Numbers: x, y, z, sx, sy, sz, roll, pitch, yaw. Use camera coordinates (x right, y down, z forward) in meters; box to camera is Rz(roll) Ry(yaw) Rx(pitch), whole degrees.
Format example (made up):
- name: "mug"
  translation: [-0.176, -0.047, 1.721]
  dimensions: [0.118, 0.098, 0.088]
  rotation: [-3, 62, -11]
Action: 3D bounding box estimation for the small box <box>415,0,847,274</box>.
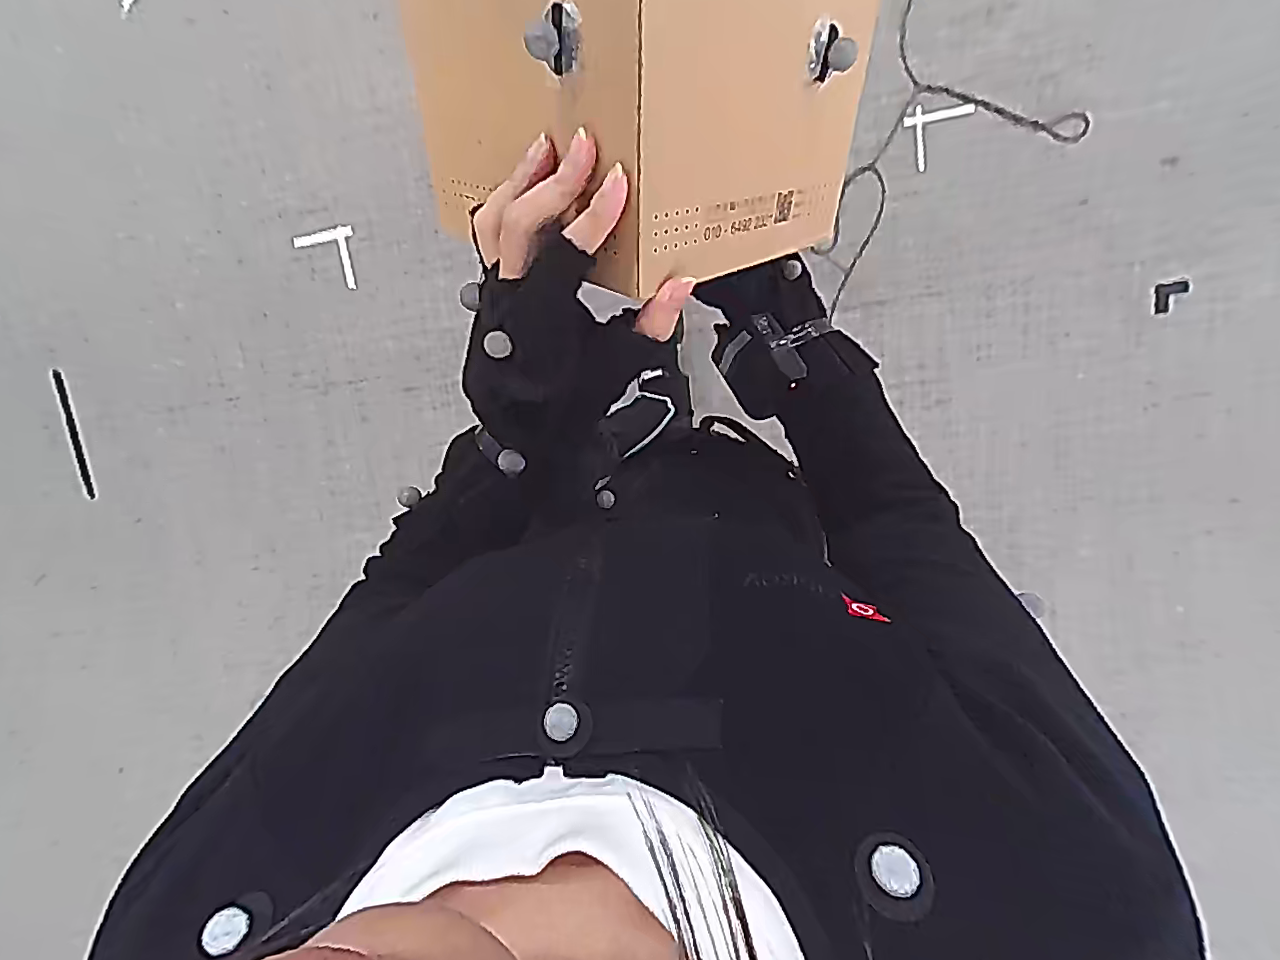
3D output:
- name: "small box"
  translation: [-0.002, -0.224, 0.300]
  dimensions: [0.179, 0.168, 0.176]
  rotation: [31, 136, 35]
